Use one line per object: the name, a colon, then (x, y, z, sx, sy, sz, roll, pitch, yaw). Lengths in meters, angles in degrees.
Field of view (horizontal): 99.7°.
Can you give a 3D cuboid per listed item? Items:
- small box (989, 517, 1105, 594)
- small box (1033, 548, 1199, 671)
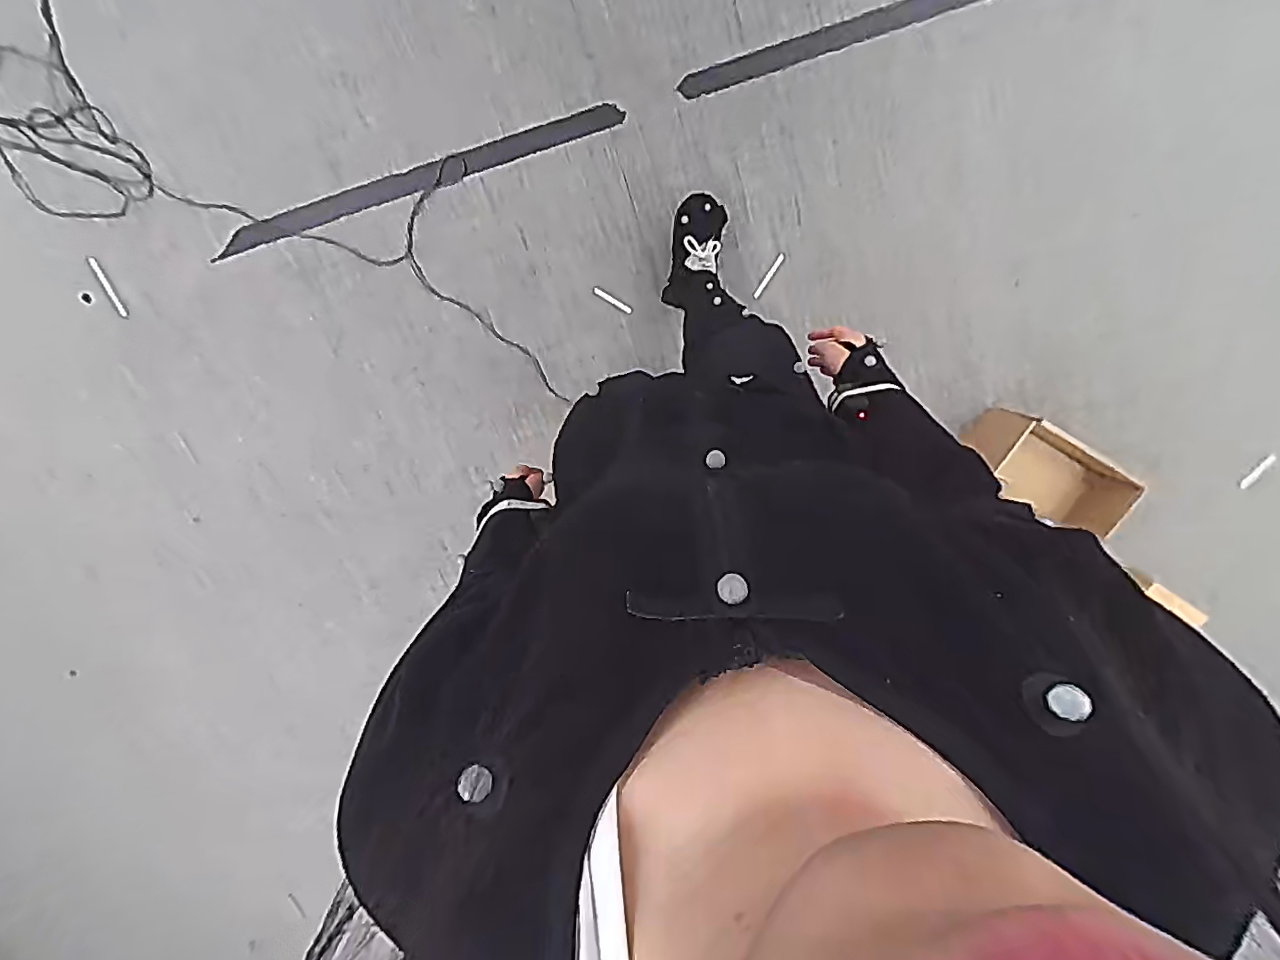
small box: (1.021, 0.213, 1.338, 0.179, 0.176, 0.168, 31, 105, -12)
small box: (1.033, 0.276, 1.188, 0.179, 0.176, 0.168, 30, 106, -12)
